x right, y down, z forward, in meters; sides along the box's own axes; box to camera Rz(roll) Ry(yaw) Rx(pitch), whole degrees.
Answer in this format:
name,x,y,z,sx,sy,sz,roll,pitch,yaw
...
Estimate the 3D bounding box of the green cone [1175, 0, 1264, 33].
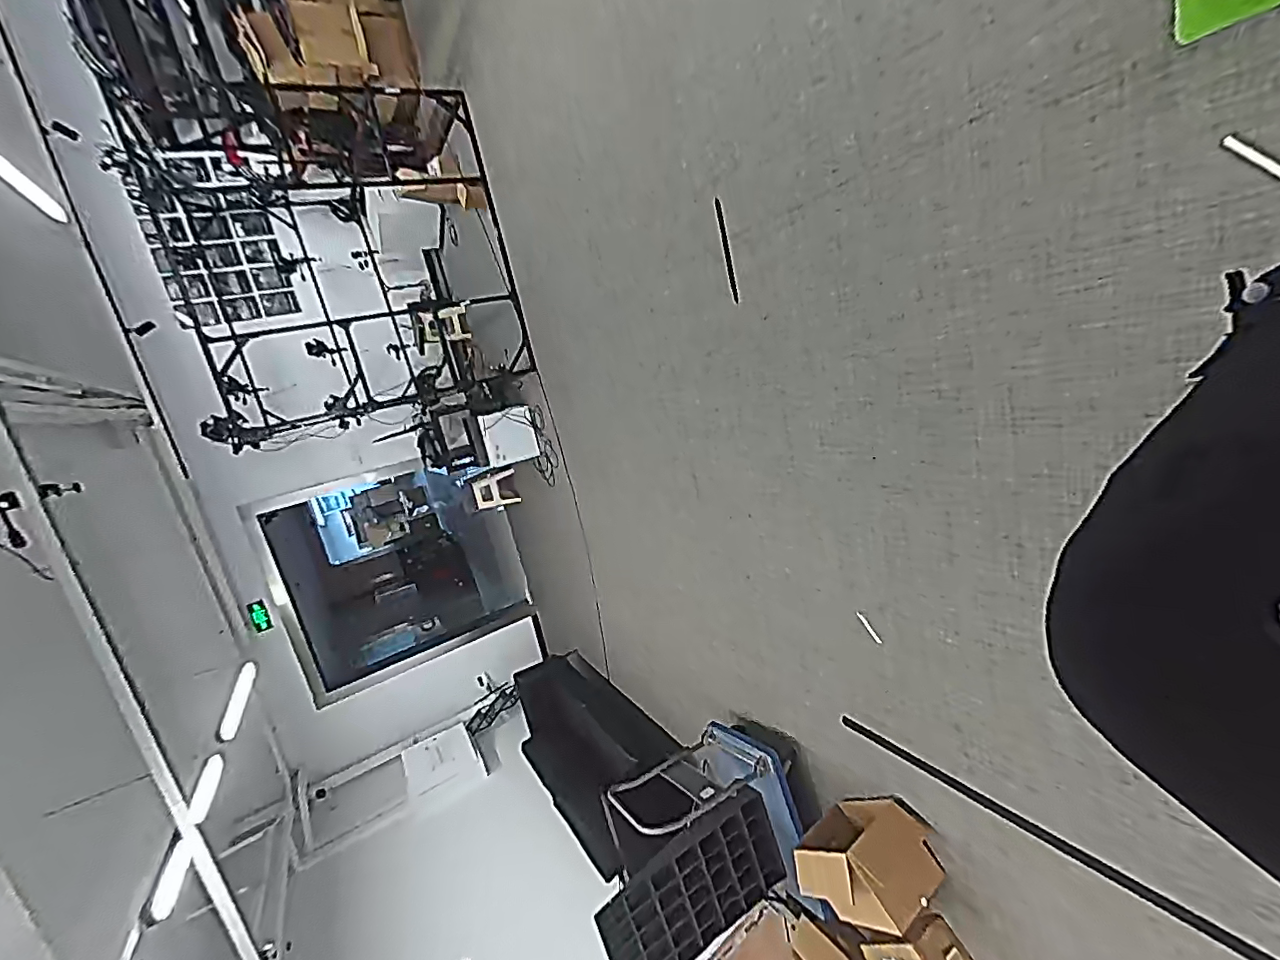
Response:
name,x,y,z,sx,sy,sz,roll,pitch,yaw
green cone,0.829,-0.814,0.776,0.202,0.368,0.200,12,118,61
